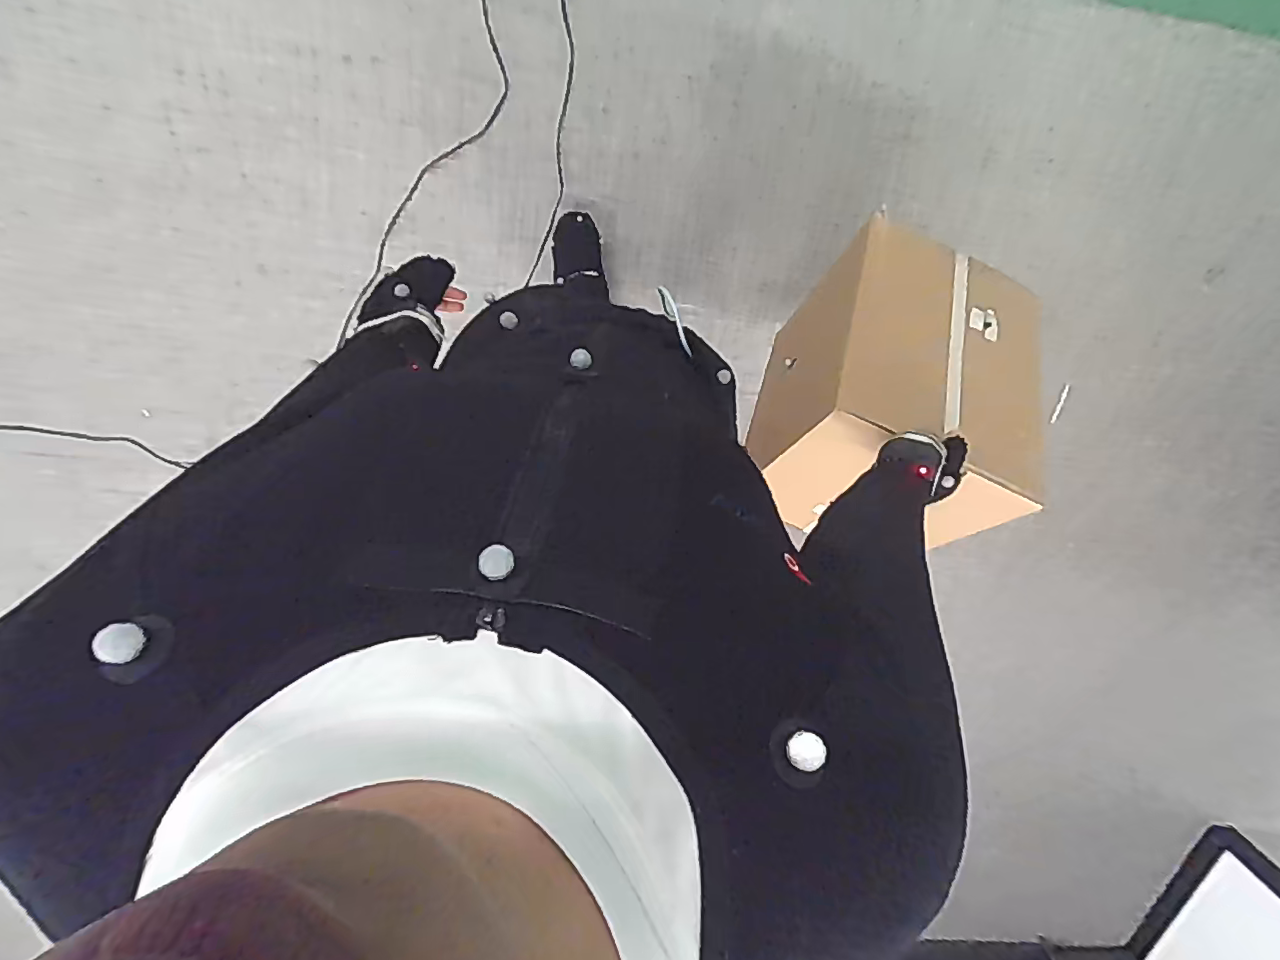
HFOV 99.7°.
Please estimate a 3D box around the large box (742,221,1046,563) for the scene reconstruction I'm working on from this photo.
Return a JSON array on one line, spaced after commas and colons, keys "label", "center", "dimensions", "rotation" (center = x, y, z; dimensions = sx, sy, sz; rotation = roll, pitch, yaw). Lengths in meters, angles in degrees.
[{"label": "large box", "center": [0.405, -0.126, 0.904], "dimensions": [0.320, 0.408, 0.320], "rotation": [24, 152, -7]}]
